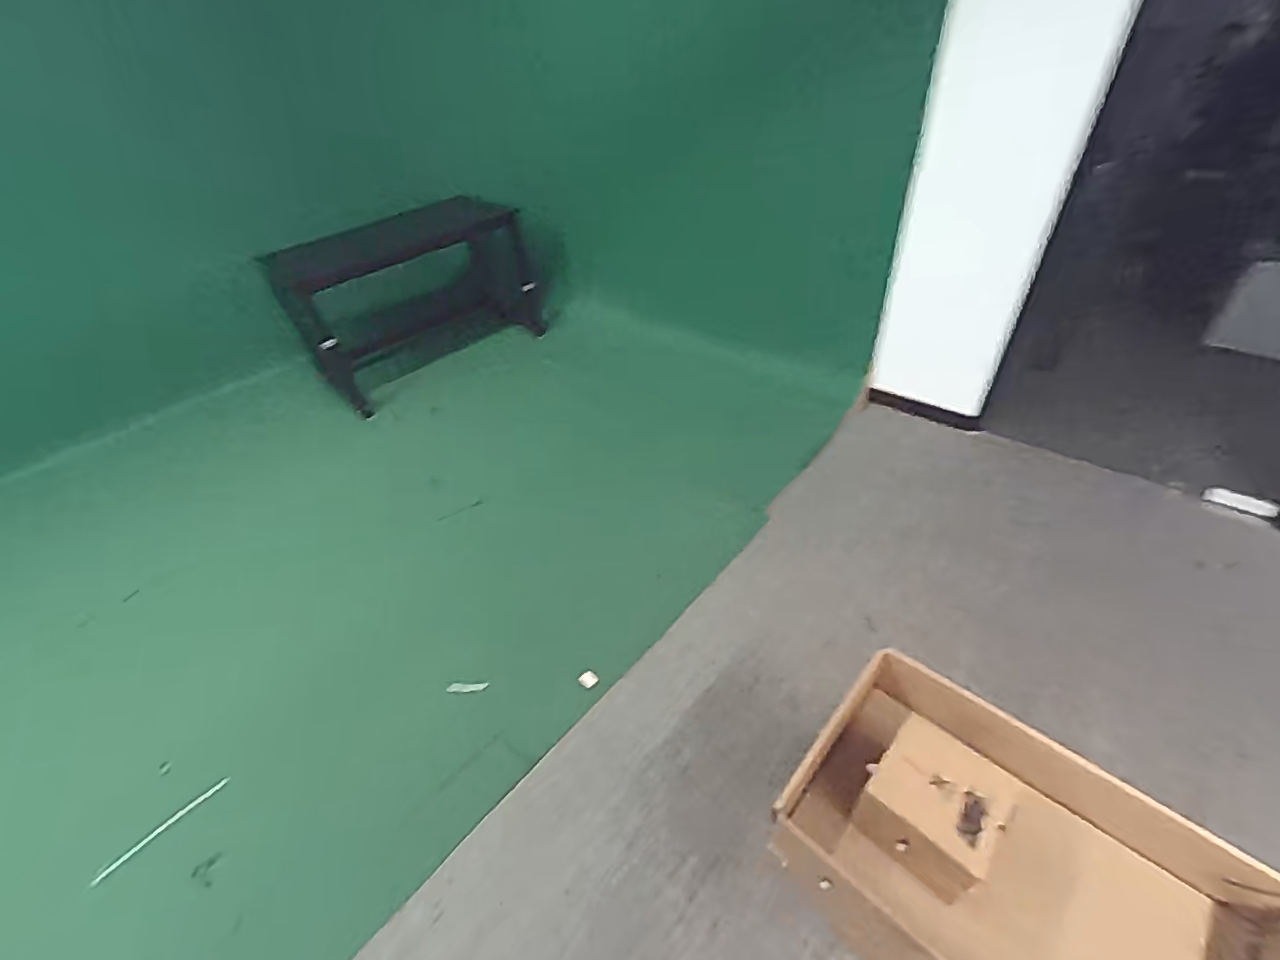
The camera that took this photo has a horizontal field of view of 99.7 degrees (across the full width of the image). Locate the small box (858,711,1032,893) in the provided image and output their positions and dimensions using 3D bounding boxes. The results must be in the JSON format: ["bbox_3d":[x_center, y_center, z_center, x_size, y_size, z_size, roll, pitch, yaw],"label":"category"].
[{"bbox_3d":[0.482,0.525,0.877,0.168,0.176,0.179,-37,49,-29],"label":"small box"}]
